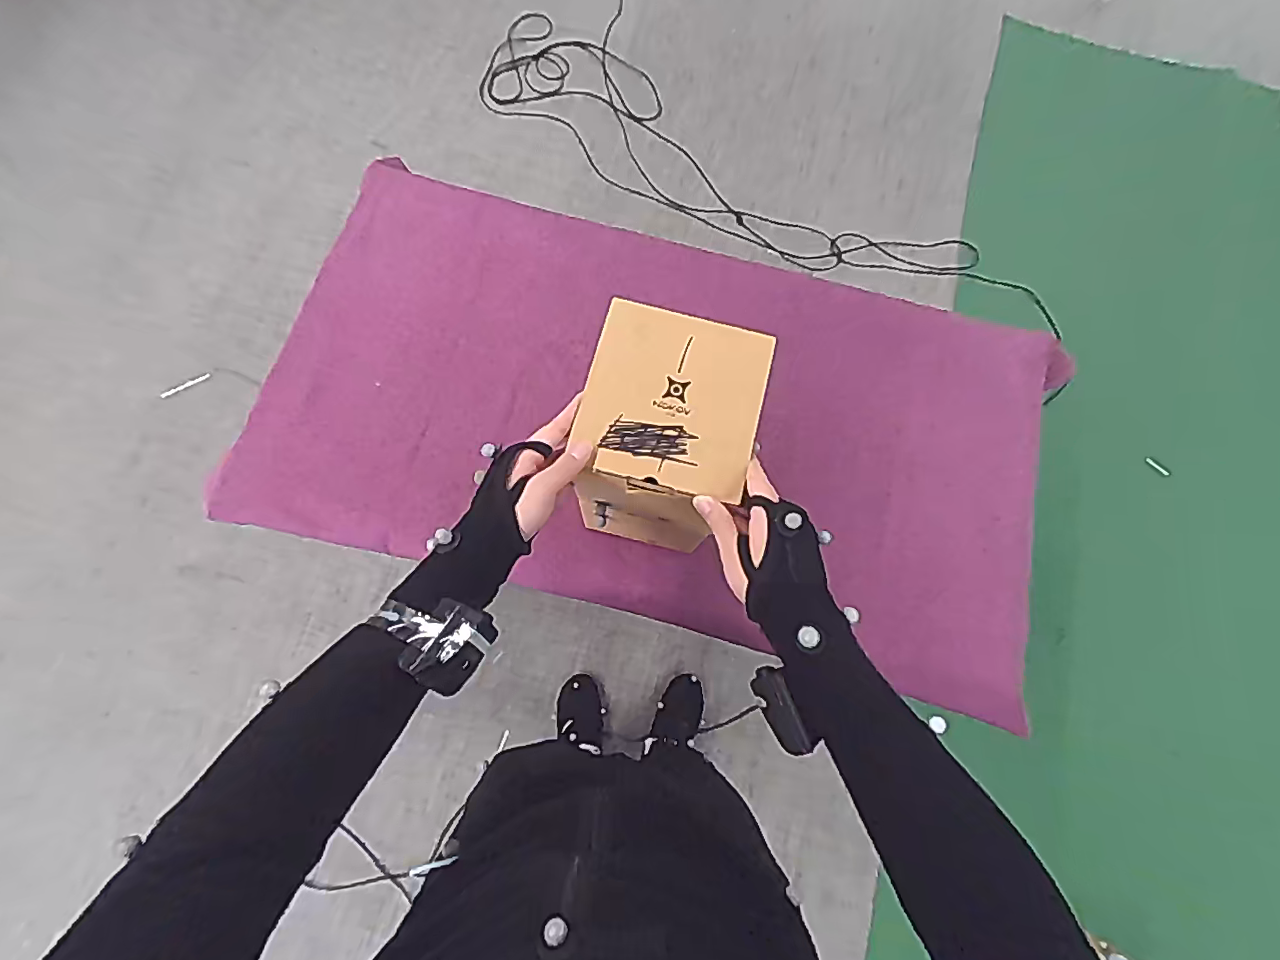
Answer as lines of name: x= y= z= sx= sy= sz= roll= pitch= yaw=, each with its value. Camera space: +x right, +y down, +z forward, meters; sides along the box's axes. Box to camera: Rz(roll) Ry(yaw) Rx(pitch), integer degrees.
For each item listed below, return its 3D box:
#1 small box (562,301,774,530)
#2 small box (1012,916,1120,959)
small box: x=0.028 y=-0.055 z=0.580 sx=0.168 sy=0.176 sz=0.179 roll=15 pitch=75 yaw=2
small box: x=1.000 y=1.153 z=1.242 sx=0.179 sy=0.176 sz=0.168 roll=17 pitch=74 yaw=1
